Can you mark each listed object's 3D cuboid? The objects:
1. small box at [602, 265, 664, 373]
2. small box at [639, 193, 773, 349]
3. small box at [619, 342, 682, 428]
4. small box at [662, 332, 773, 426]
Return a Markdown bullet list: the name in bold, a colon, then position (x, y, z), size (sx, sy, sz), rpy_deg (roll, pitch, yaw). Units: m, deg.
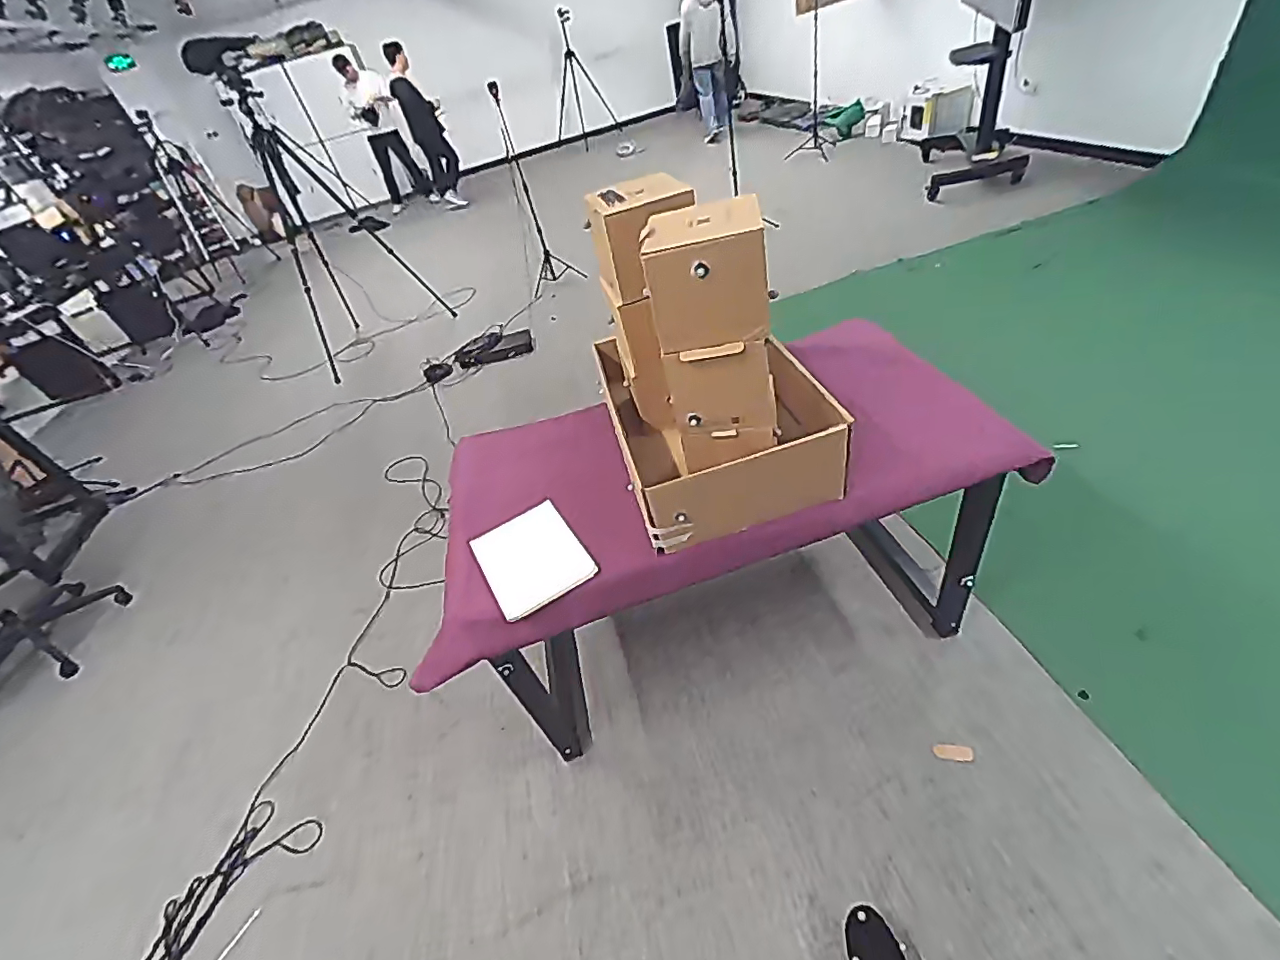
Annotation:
- **small box**: position (0.034, -0.358, 1.176), size (0.179, 0.176, 0.168), rpy_deg (-19, 42, -3)
- **small box**: position (0.110, -0.324, 0.856), size (0.179, 0.176, 0.168), rpy_deg (-6, 42, 14)
- **small box**: position (0.062, -0.243, 1.286), size (0.168, 0.176, 0.179), rpy_deg (-17, 43, -1)
- **small box**: position (0.145, -0.207, 0.963), size (0.168, 0.176, 0.179), rpy_deg (-5, 41, 16)
